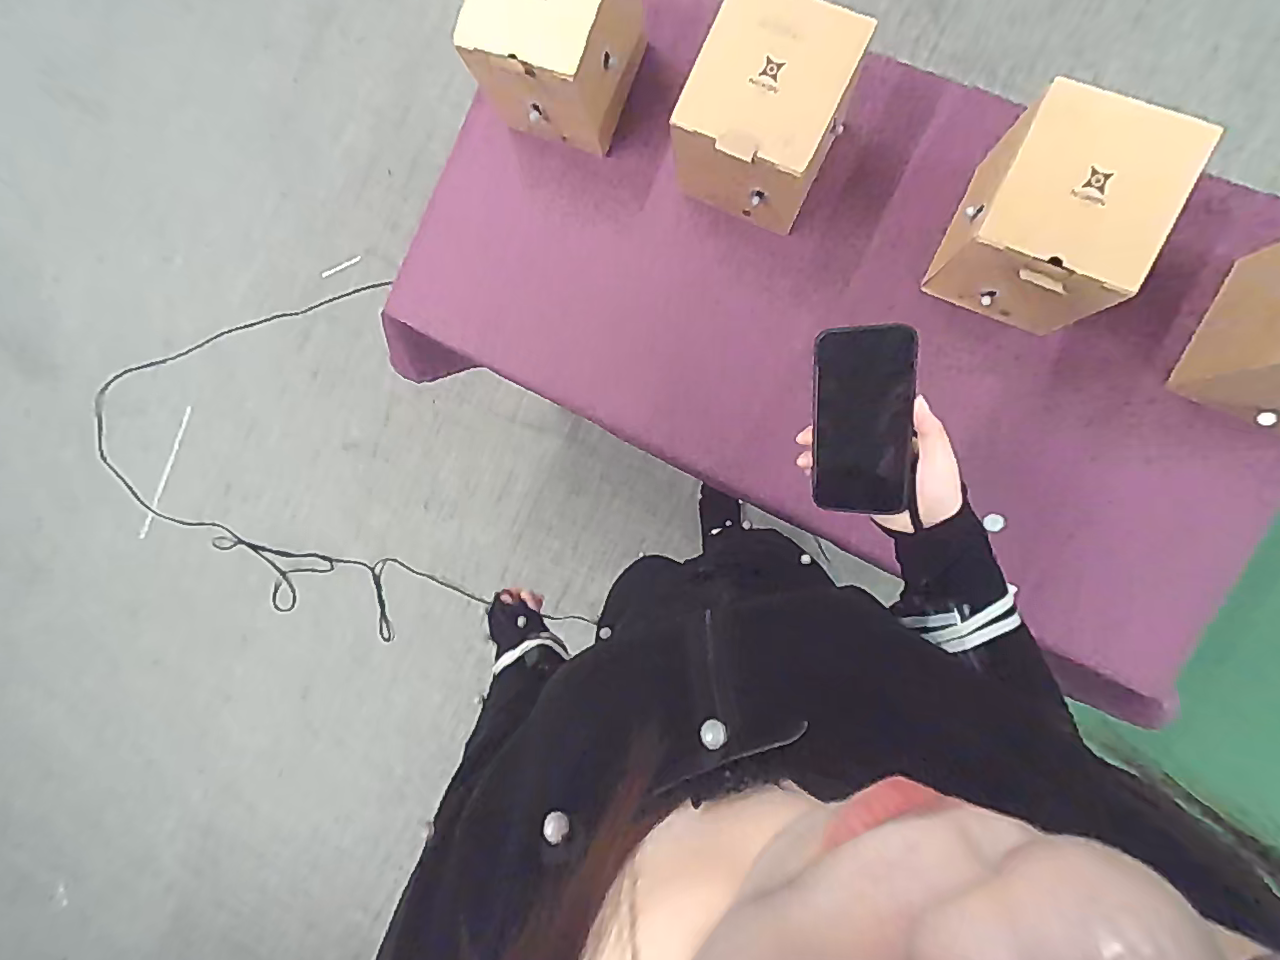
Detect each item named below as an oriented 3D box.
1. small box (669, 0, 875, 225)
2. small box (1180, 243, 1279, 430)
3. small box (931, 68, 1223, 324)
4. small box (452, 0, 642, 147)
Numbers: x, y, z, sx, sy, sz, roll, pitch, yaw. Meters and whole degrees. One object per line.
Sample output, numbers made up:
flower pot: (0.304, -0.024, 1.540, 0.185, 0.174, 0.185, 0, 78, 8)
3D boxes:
small box: (0.154, -0.449, 0.664, 0.168, 0.176, 0.179, 27, 96, 7)
small box: (0.748, -0.161, 0.570, 0.168, 0.176, 0.179, 27, 96, 9)
small box: (0.468, -0.303, 0.616, 0.168, 0.176, 0.179, 25, 96, 8)
small box: (-0.107, -0.577, 0.702, 0.168, 0.176, 0.179, 22, 96, 7)
